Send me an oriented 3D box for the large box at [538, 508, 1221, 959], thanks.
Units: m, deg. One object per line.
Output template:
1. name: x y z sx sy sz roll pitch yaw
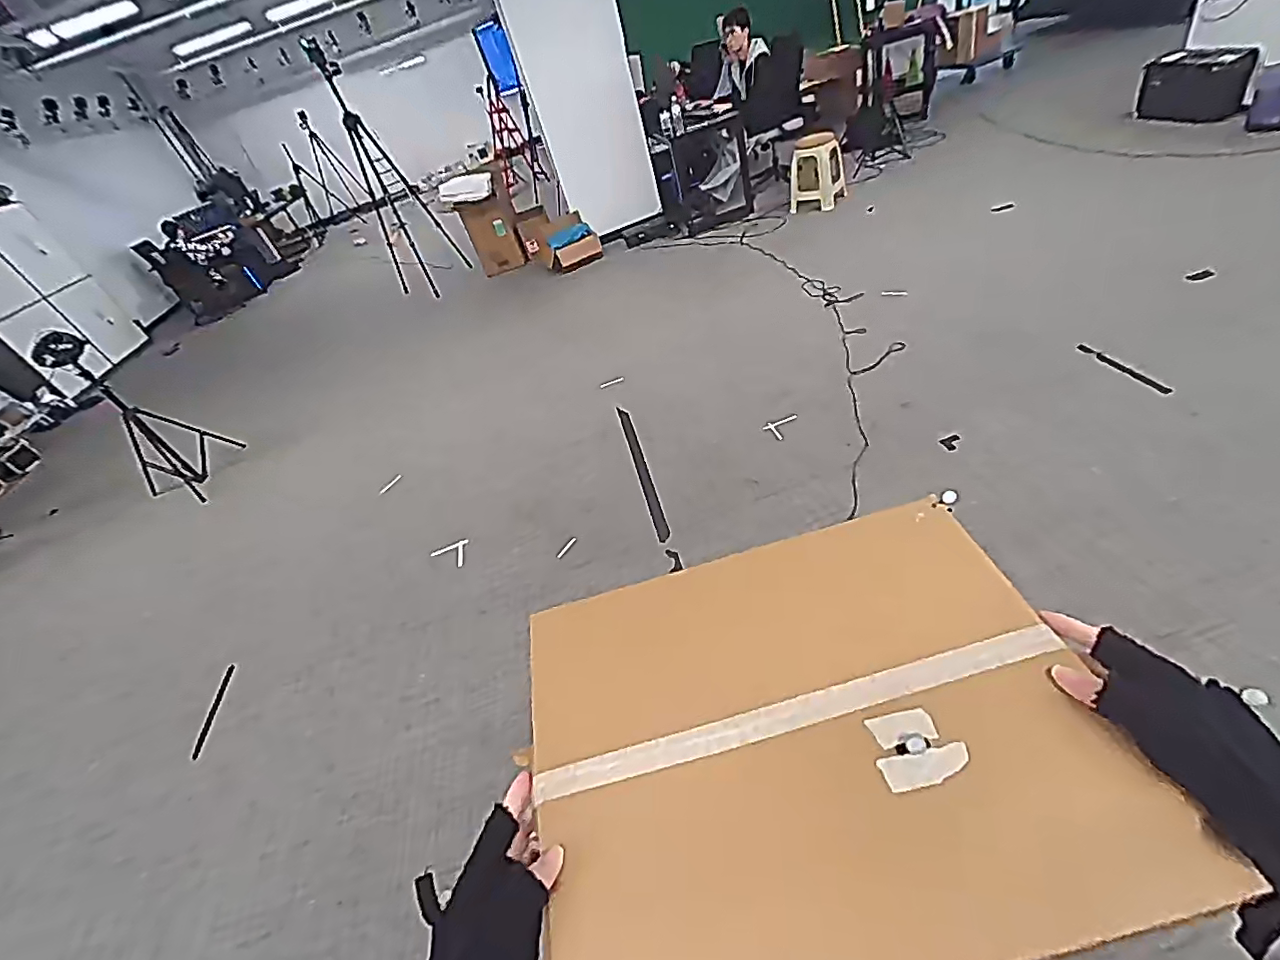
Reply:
1. large box: 0.149 0.288 0.519 0.408 0.320 0.320 -16 44 0
